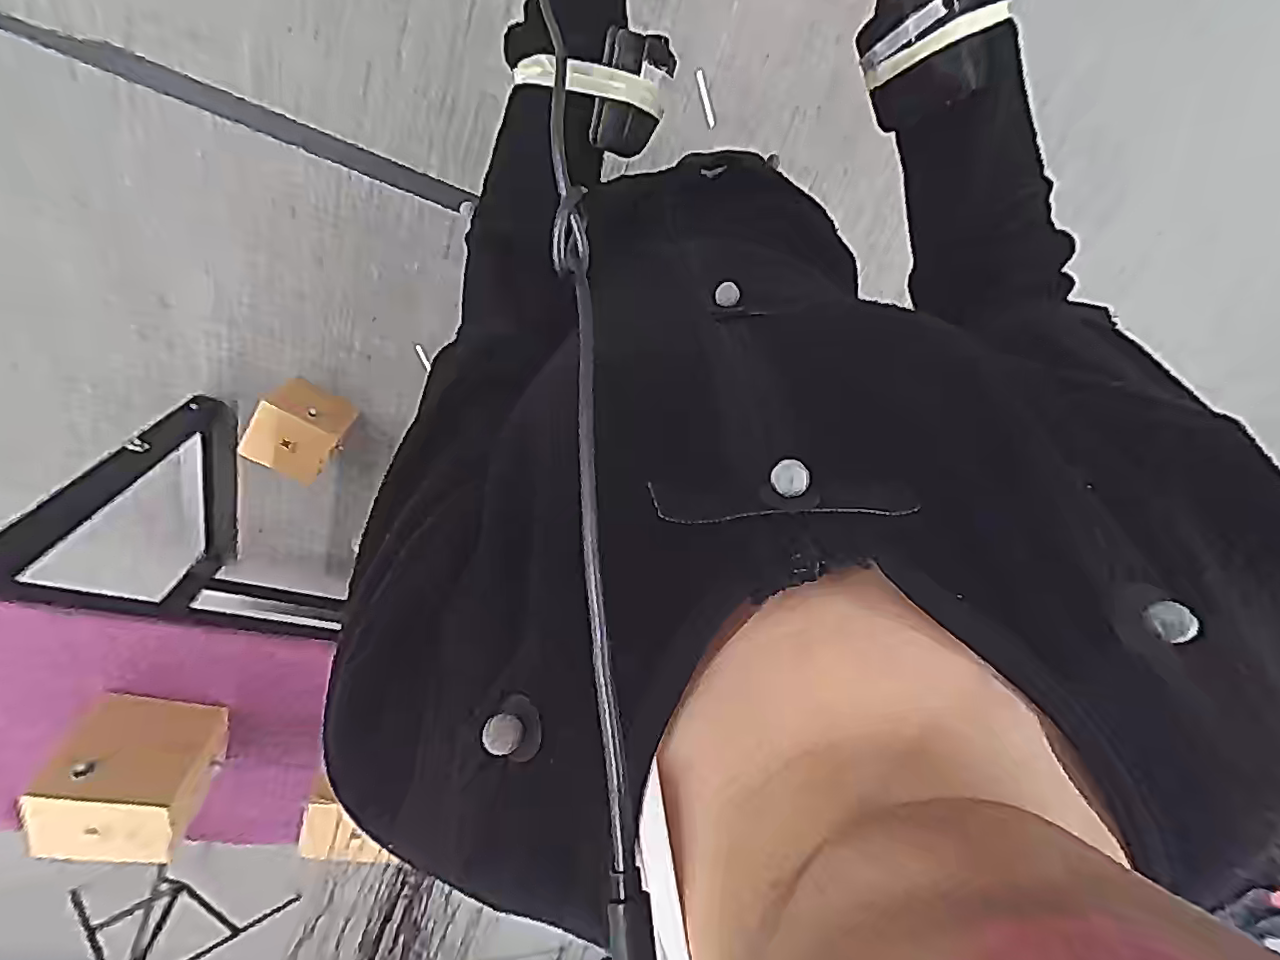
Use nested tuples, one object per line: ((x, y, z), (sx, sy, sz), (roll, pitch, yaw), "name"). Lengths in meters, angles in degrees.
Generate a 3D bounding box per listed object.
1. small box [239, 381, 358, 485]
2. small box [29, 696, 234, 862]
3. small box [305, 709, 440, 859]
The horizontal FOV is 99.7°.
((-0.845, -0.125, 1.353), (0.179, 0.176, 0.168), (31, 112, -25), "small box")
((-0.793, 0.471, 0.861), (0.179, 0.176, 0.168), (16, 118, -18), "small box")
((-0.462, 0.532, 0.953), (0.168, 0.176, 0.179), (16, 120, -17), "small box")
